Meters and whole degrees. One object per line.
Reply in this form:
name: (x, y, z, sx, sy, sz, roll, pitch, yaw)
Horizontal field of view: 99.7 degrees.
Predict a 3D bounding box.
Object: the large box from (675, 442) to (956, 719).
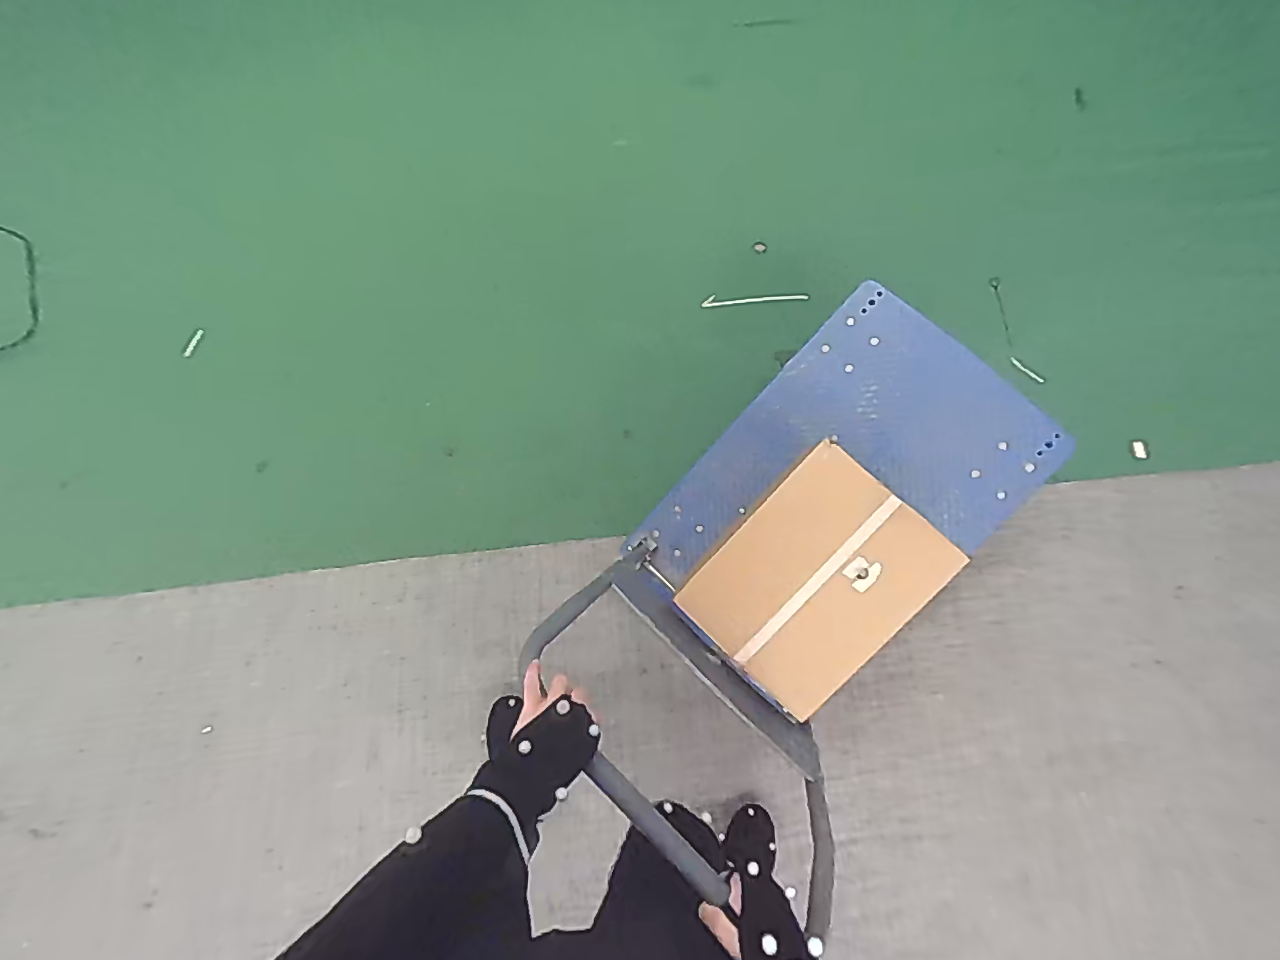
large box: (0.326, 0.184, 1.105, 0.320, 0.320, 0.408, 43, 96, 8)
